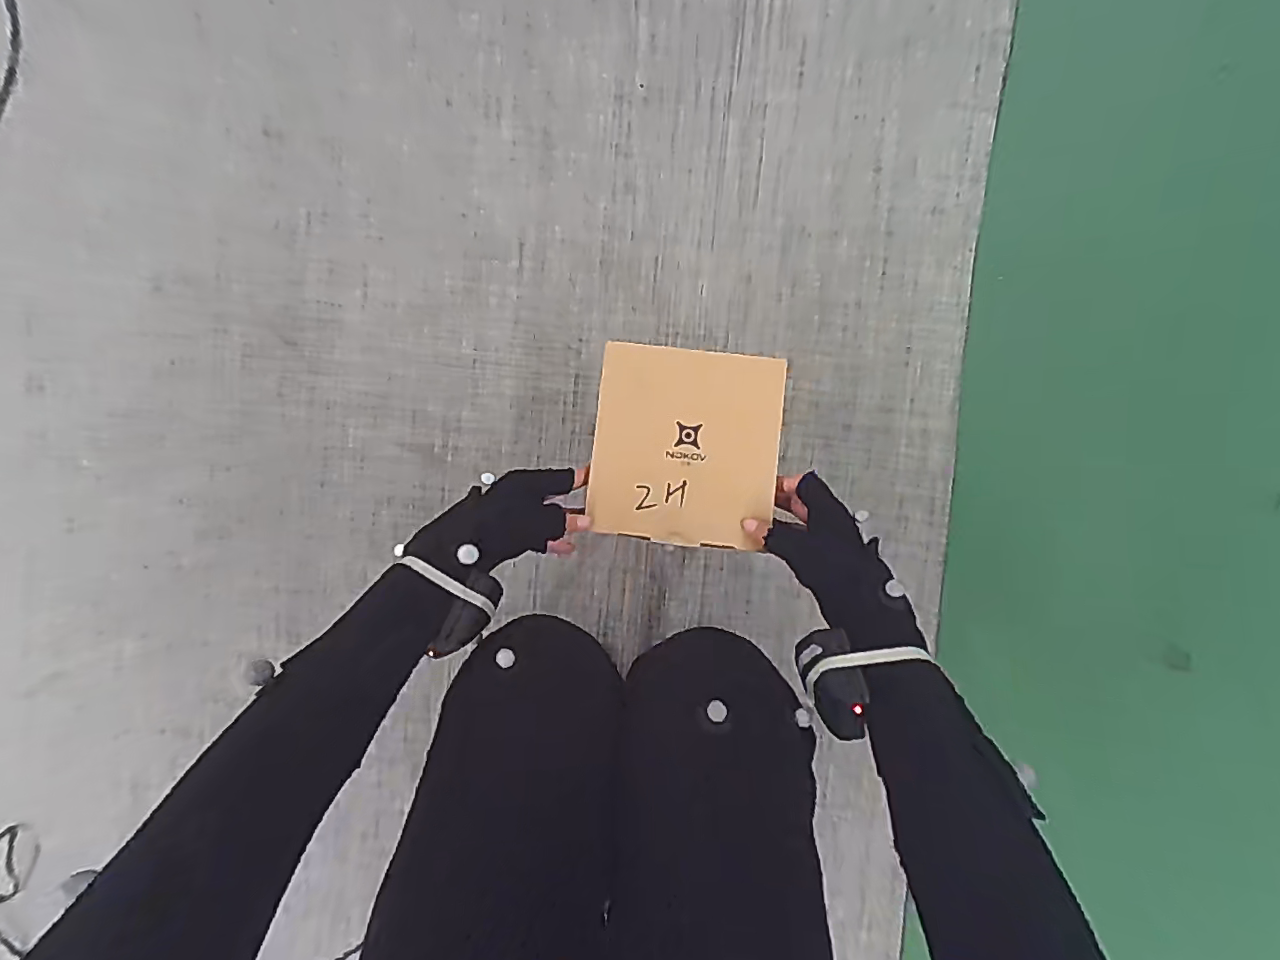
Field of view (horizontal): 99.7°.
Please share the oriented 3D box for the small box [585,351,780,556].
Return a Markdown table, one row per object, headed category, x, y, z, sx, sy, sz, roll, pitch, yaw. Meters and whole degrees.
| category | x | y | z | sx | sy | sz | roll | pitch | yaw |
| --- | --- | --- | --- | --- | --- | --- | --- | --- | --- |
| small box | 0.042 | -0.020 | 0.579 | 0.168 | 0.176 | 0.179 | 7 | 86 | 3 |
